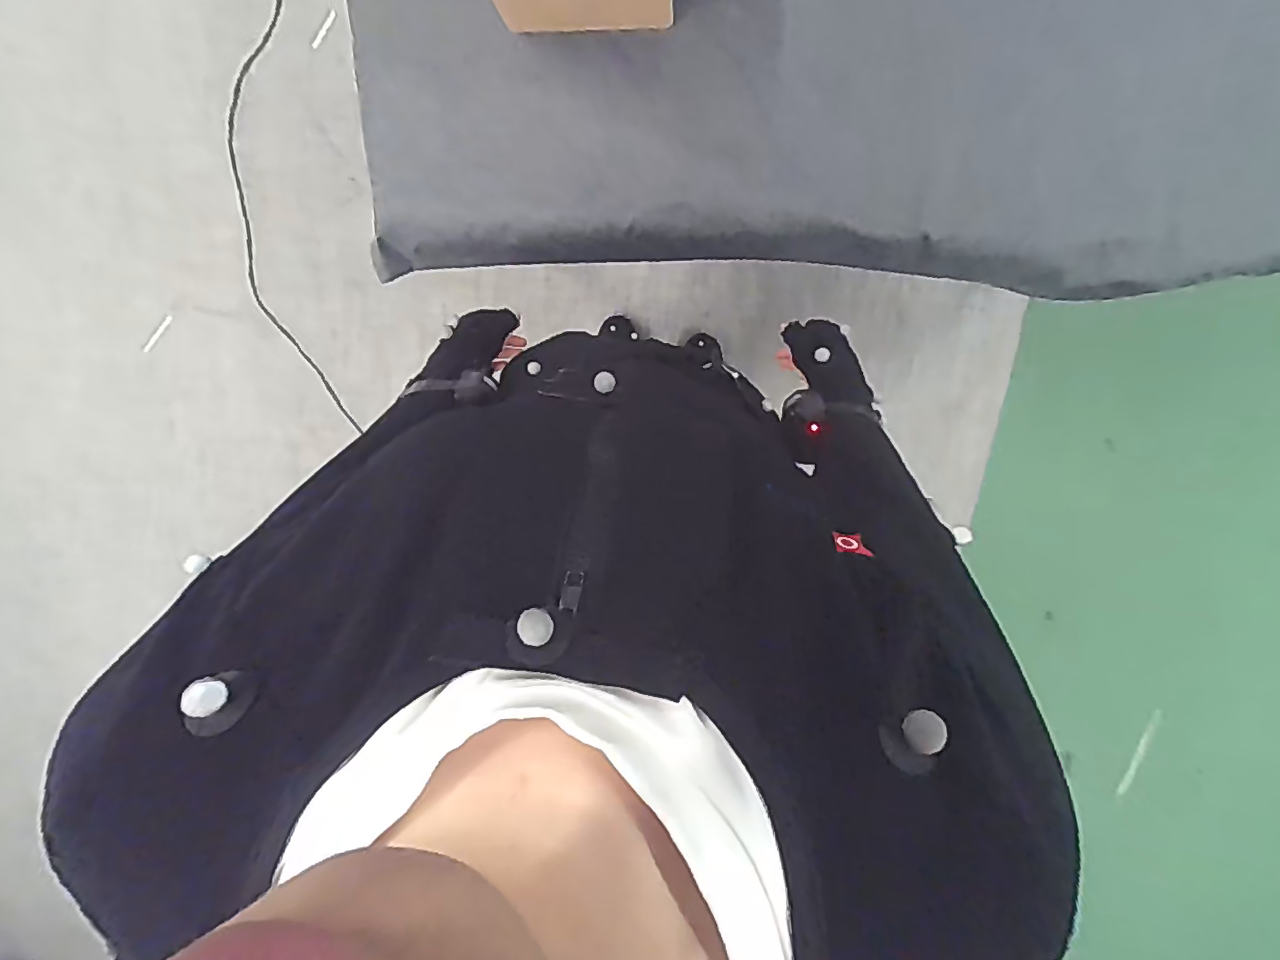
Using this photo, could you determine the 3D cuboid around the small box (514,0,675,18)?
[{"bbox_3d":[-0.050,-0.542,0.472,0.179,0.176,0.168,1,108,3],"label":"small box"}]
